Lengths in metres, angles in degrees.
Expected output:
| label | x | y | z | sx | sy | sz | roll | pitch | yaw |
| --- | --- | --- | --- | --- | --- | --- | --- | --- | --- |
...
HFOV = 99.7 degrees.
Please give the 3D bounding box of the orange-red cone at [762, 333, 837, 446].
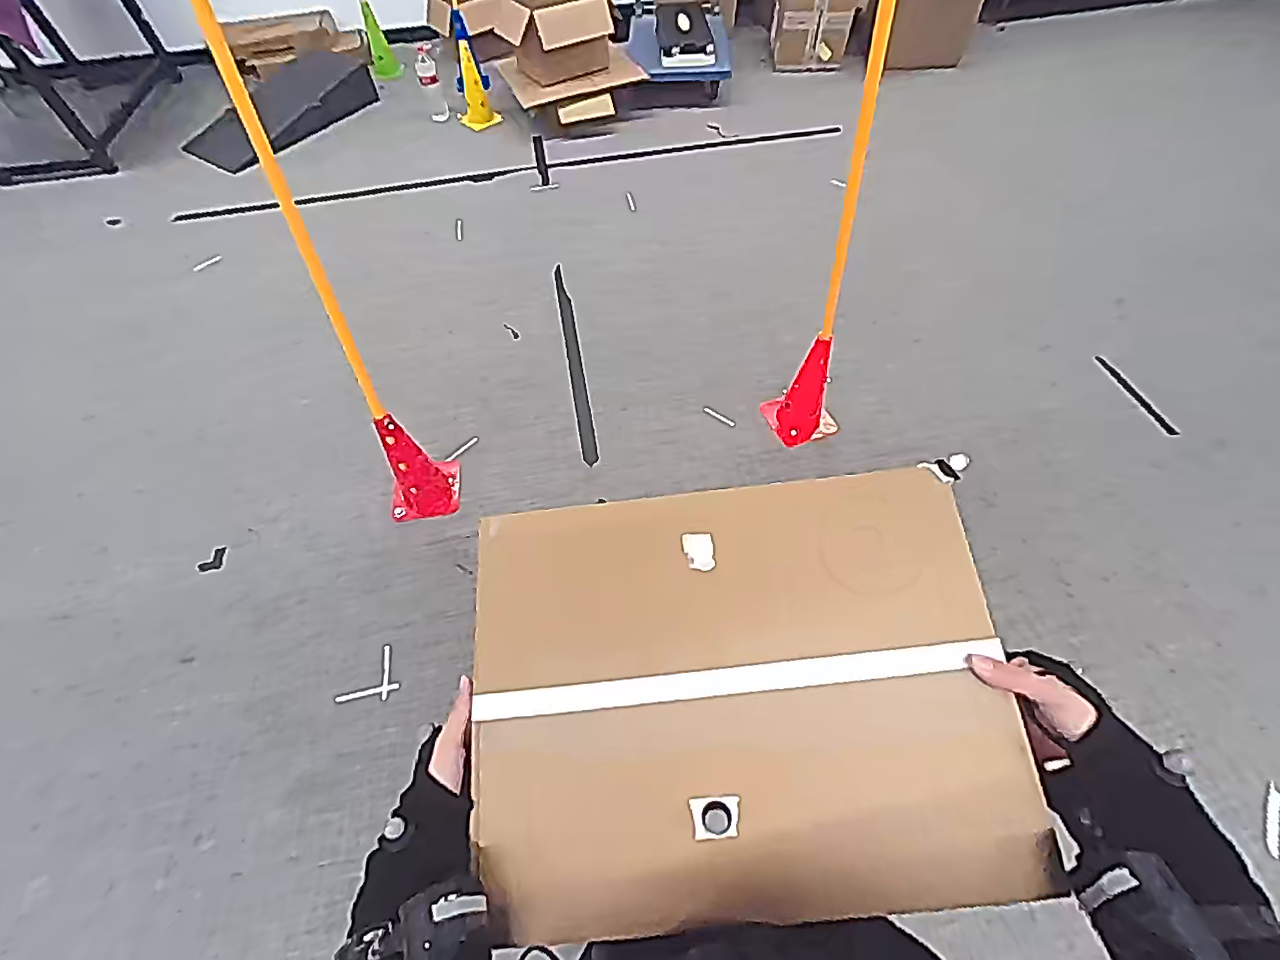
| label | x | y | z | sx | sy | sz | roll | pitch | yaw |
| --- | --- | --- | --- | --- | --- | --- | --- | --- | --- |
| orange-red cone | 0.523 | -0.299 | 1.637 | 0.199 | 0.360 | 0.198 | -17 | 58 | -11 |
